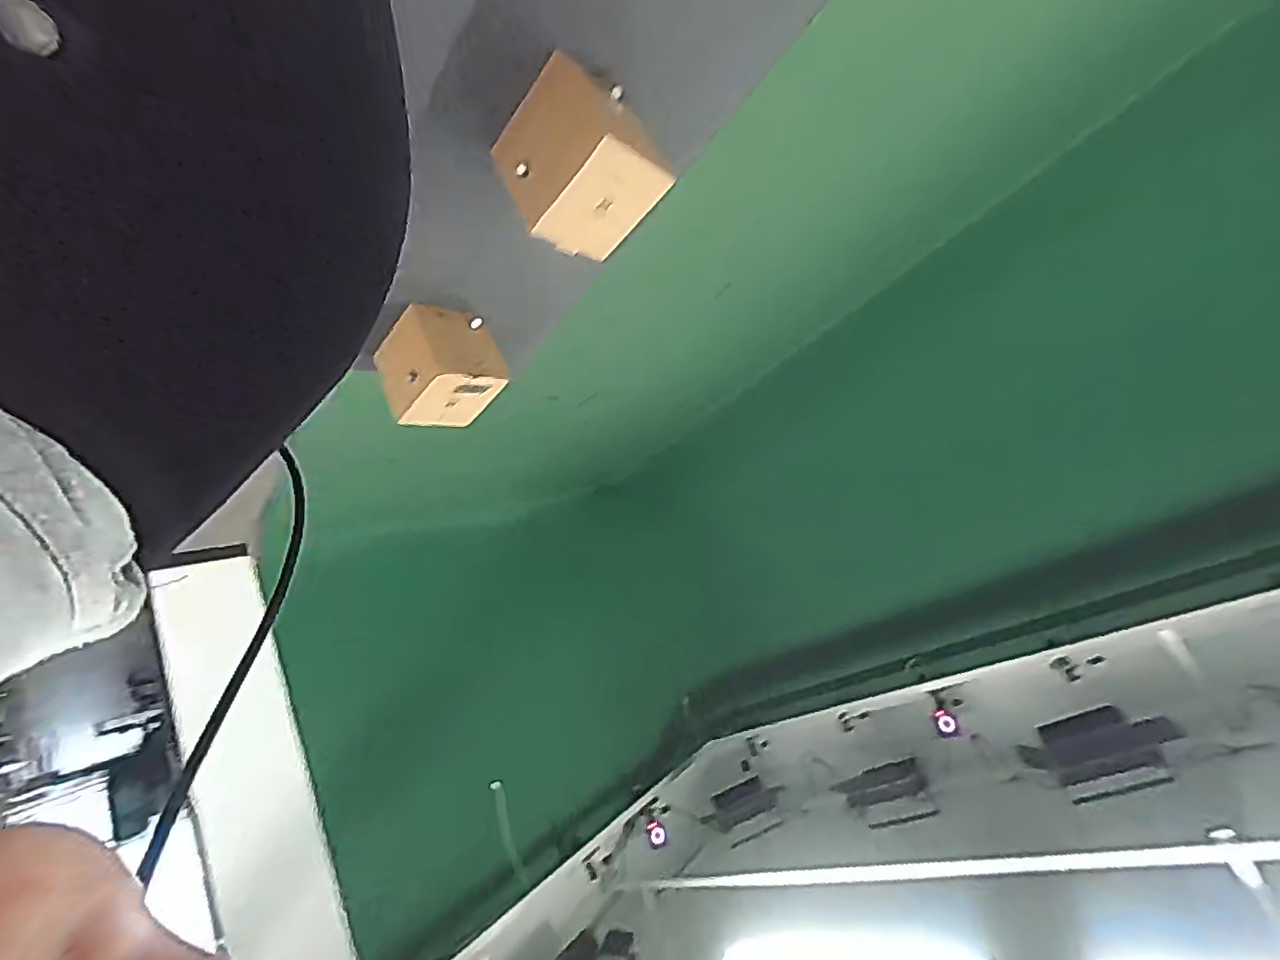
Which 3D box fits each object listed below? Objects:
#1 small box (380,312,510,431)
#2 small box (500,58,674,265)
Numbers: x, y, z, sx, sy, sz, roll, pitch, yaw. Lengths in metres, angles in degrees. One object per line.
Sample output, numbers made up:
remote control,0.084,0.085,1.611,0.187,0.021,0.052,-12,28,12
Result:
small box,-0.405,-0.217,1.112,0.179,0.176,0.168,-35,162,33
small box,-0.087,-0.466,0.814,0.179,0.176,0.168,-37,162,33
